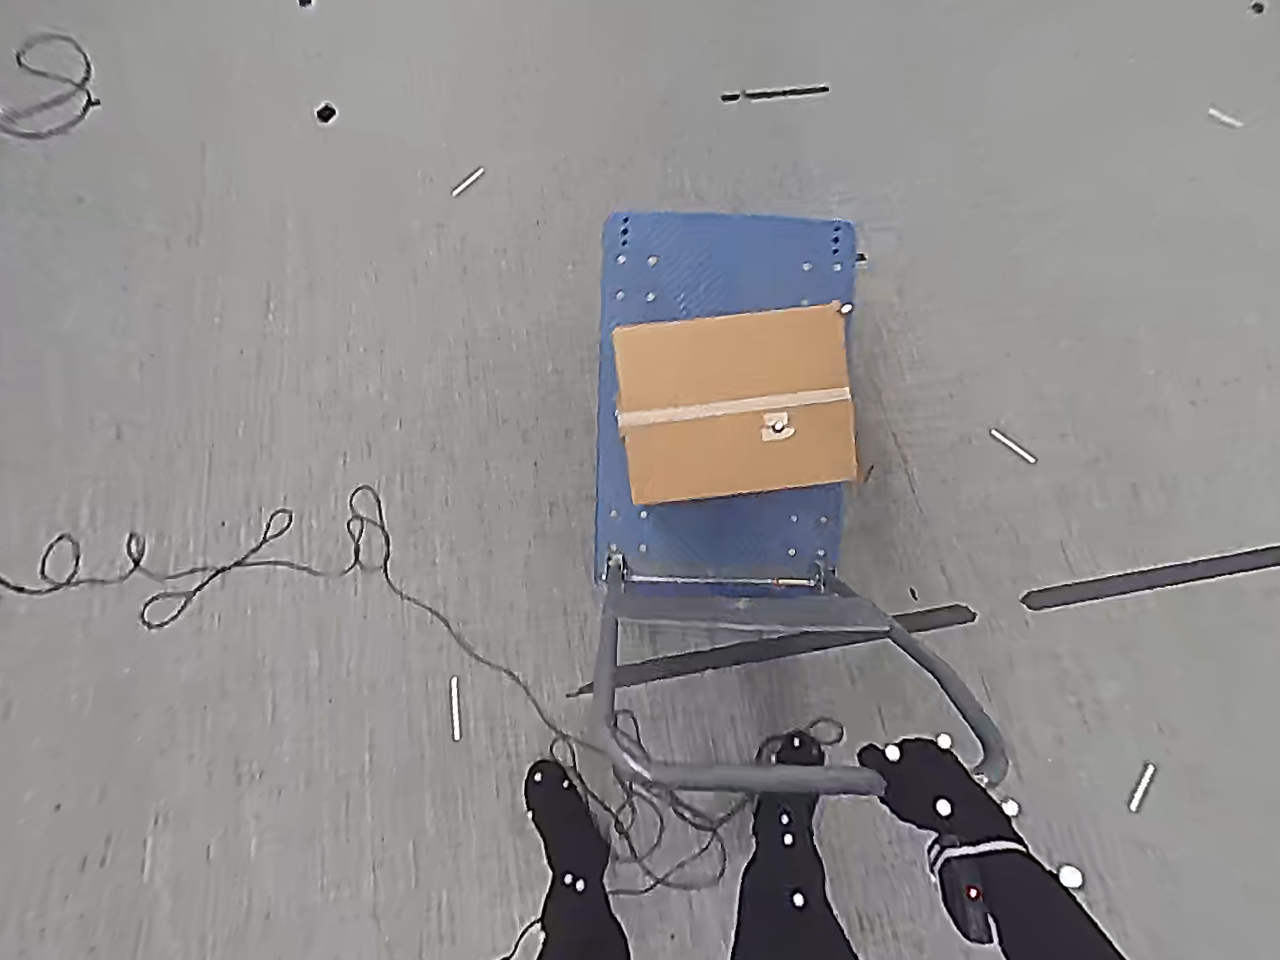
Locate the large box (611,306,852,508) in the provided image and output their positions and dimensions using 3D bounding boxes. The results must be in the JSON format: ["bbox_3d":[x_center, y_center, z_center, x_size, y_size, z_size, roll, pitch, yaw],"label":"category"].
[{"bbox_3d":[0.162,-0.137,1.108,0.408,0.320,0.320,-8,95,-1],"label":"large box"}]
